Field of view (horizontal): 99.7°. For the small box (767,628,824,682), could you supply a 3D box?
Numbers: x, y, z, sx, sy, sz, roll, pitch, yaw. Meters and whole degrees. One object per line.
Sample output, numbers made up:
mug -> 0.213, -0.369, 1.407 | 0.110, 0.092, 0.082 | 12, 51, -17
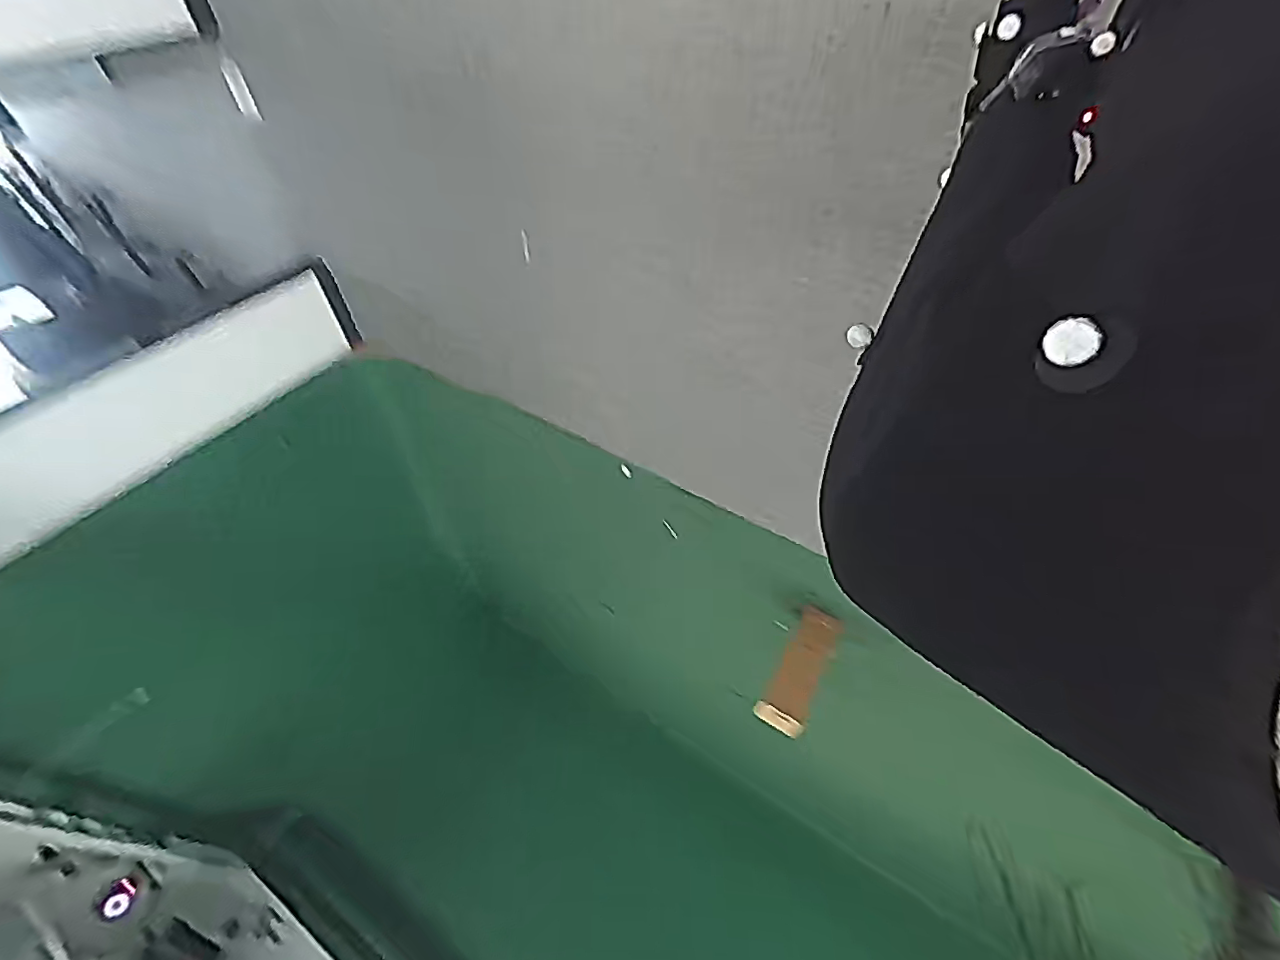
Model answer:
small box -> 0.672, 0.772, 2.332 | 0.168, 0.176, 0.179 | 28, 146, 17

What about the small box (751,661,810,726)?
small box -> 0.587, 0.884, 2.245 | 0.168, 0.176, 0.179 | 28, 146, 17

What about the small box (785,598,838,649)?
small box -> 0.762, 0.665, 2.417 | 0.168, 0.176, 0.179 | 27, 143, 17
